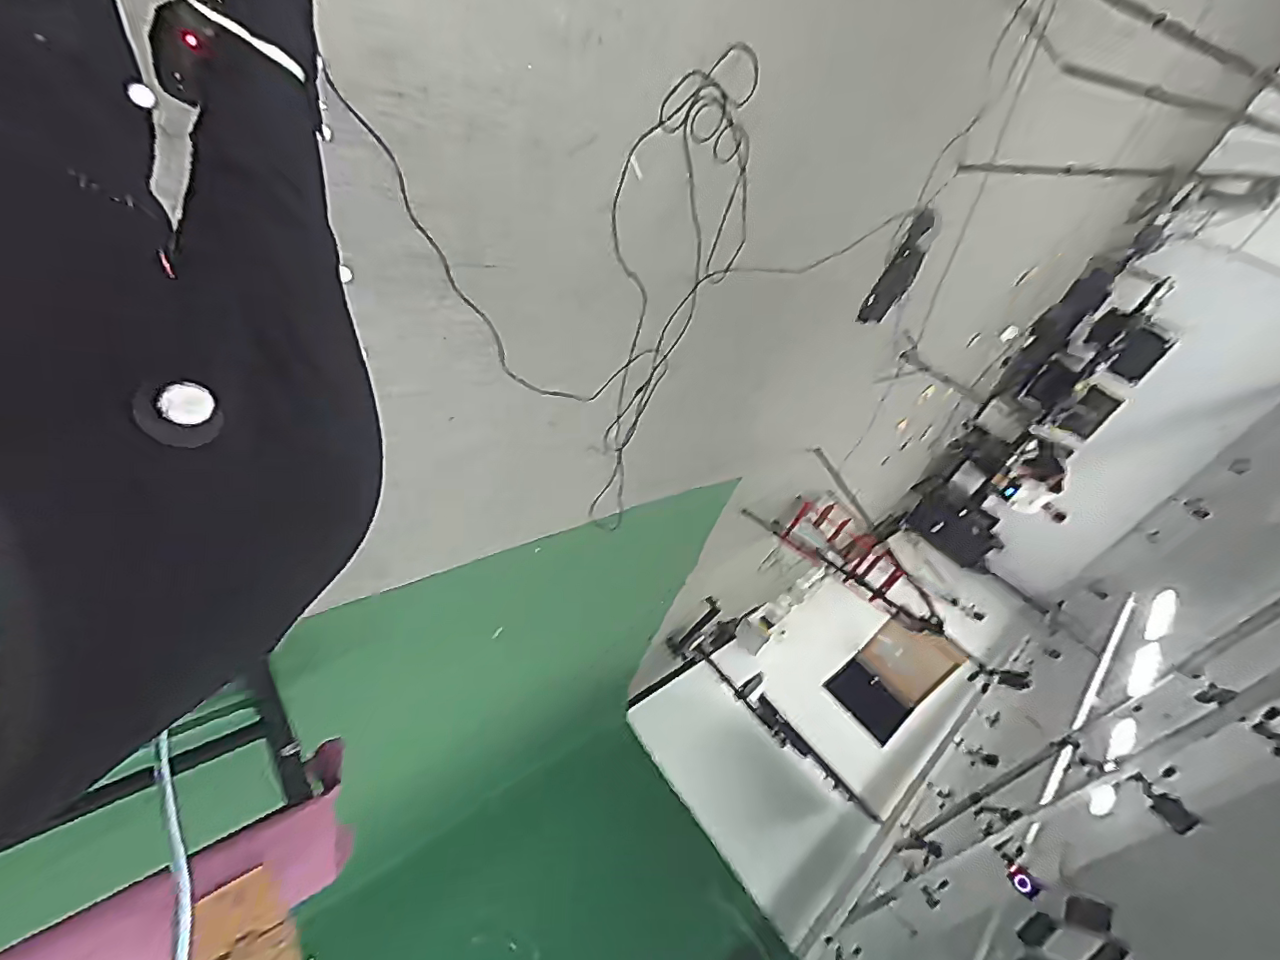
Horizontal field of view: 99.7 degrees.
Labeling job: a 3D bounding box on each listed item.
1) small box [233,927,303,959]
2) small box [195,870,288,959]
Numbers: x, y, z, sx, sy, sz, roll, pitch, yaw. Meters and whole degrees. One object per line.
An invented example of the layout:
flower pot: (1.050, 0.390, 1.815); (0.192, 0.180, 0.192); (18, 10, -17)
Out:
small box: (-0.930, 1.264, 1.339); (0.168, 0.176, 0.179); (-13, 137, -42)
small box: (-1.042, 1.177, 1.424); (0.168, 0.176, 0.179); (-17, 139, -39)
